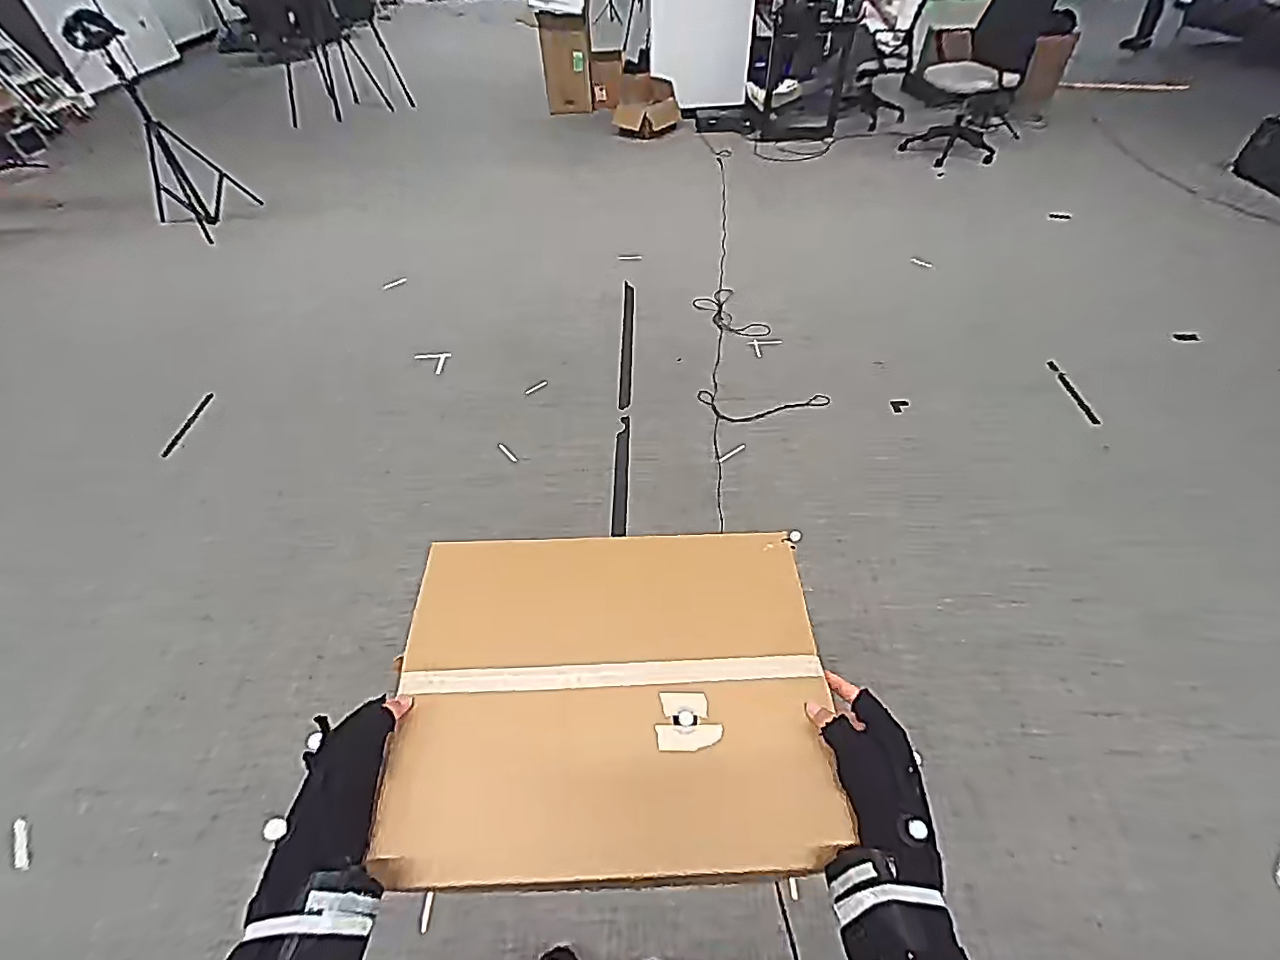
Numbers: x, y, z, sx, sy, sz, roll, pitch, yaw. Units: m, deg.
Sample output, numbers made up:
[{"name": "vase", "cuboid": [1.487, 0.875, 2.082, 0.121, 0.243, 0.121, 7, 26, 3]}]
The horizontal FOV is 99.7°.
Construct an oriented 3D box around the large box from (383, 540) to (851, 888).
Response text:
[{"name": "large box", "cuboid": [-0.026, 0.289, 0.658, 0.408, 0.320, 0.320, -1, 53, -2]}]
